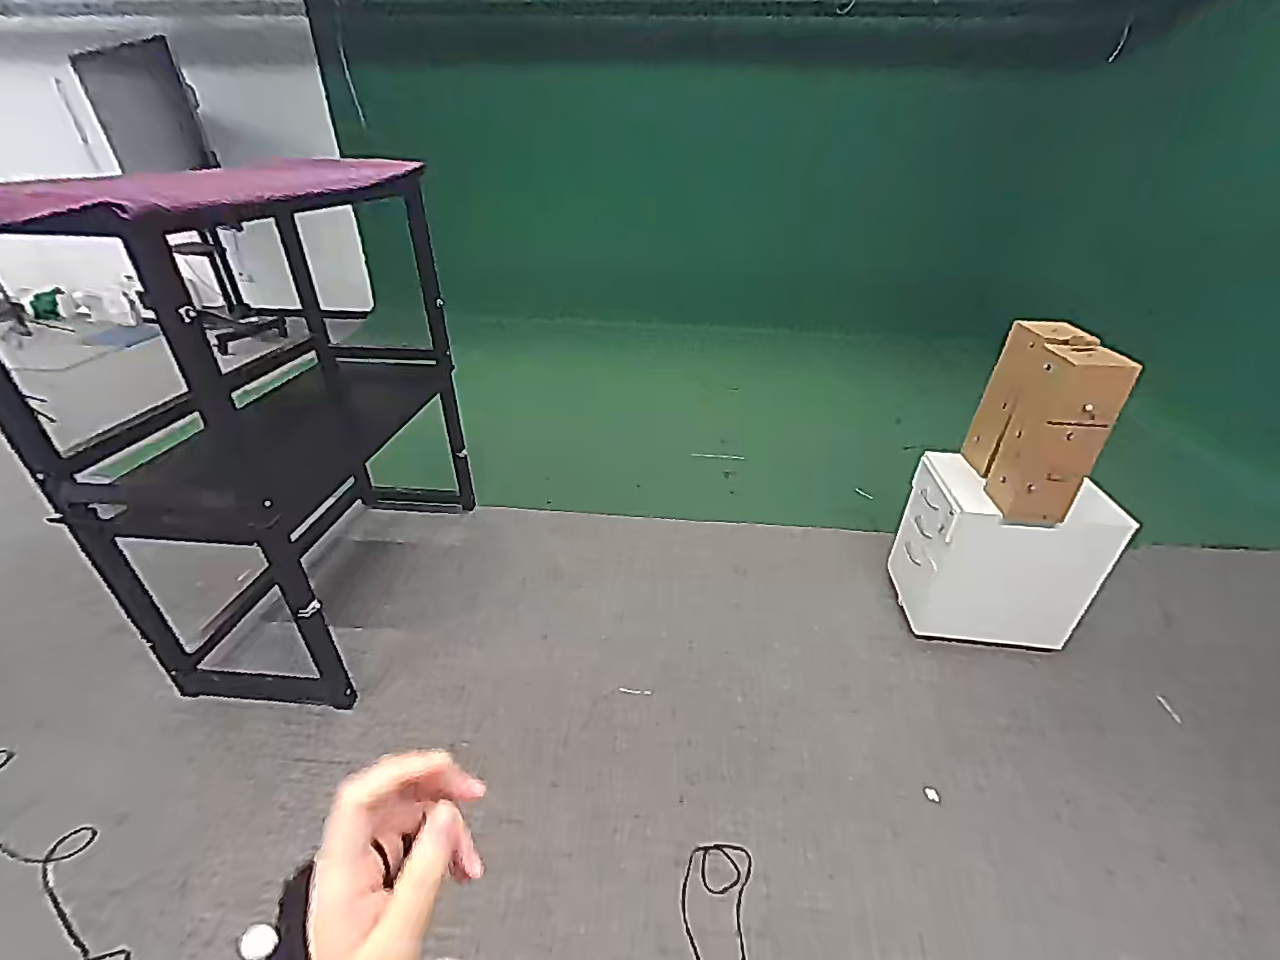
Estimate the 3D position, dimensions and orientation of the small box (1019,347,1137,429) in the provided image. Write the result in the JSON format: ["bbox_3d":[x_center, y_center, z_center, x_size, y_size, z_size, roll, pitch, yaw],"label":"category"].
[{"bbox_3d":[1.202,-0.258,1.504,0.168,0.176,0.179,4,31,5],"label":"small box"}]

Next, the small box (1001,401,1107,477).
[{"bbox_3d":[1.204,-0.120,1.593,0.179,0.176,0.168,5,31,5],"label":"small box"}]

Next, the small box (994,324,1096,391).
[{"bbox_3d":[1.269,-0.382,1.713,0.168,0.176,0.179,2,34,0],"label":"small box"}]

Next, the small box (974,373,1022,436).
[{"bbox_3d":[1.260,-0.246,1.802,0.168,0.176,0.179,3,33,0],"label":"small box"}]
